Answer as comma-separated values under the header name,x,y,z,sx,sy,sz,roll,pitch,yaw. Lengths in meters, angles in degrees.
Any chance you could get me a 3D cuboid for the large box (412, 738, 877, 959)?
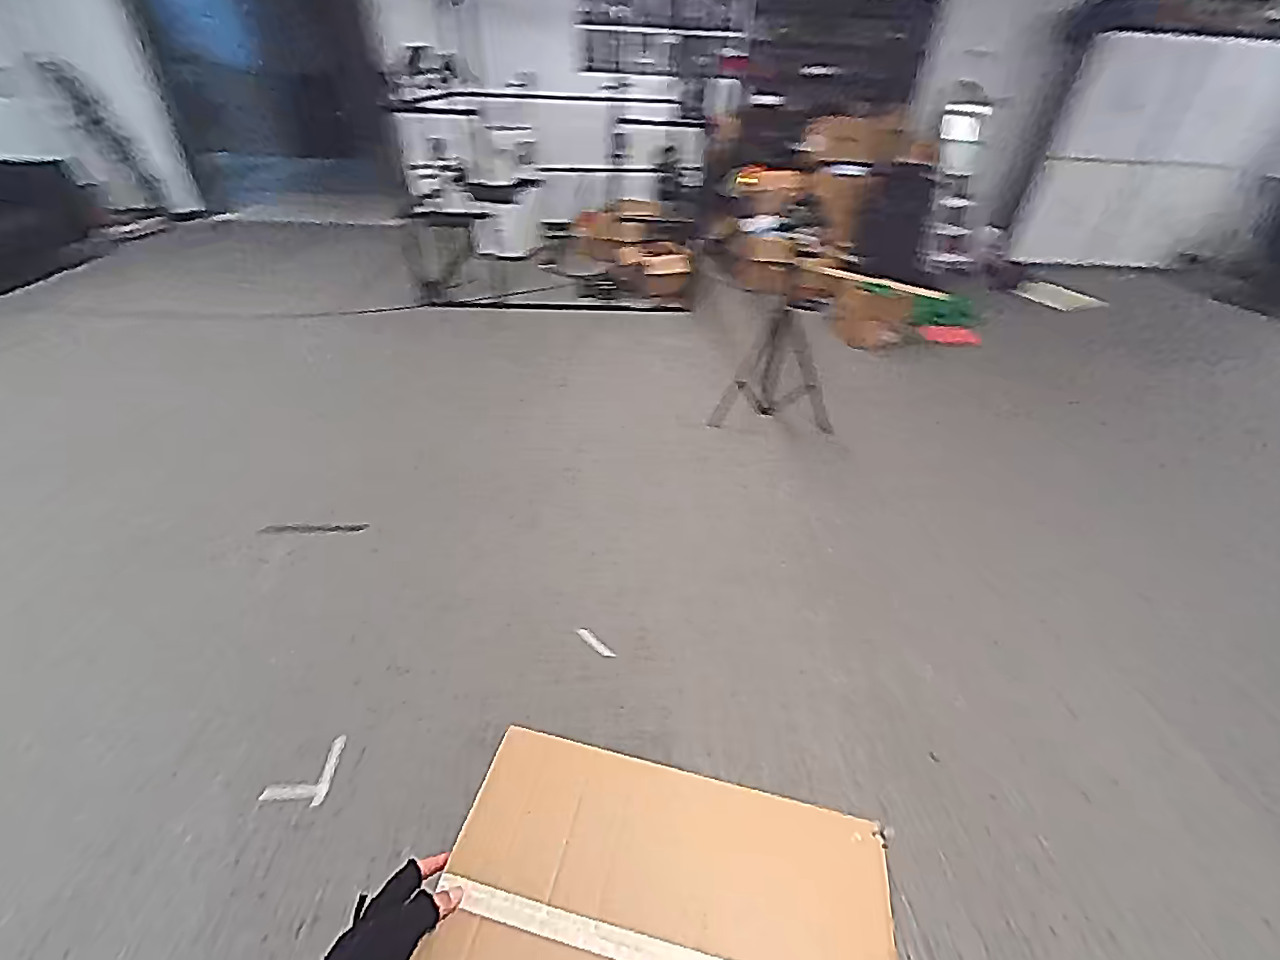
name,x,y,z,sx,sy,sz,roll,pitch,yaw
large box,-0.002,0.532,0.565,0.408,0.320,0.320,10,39,8
